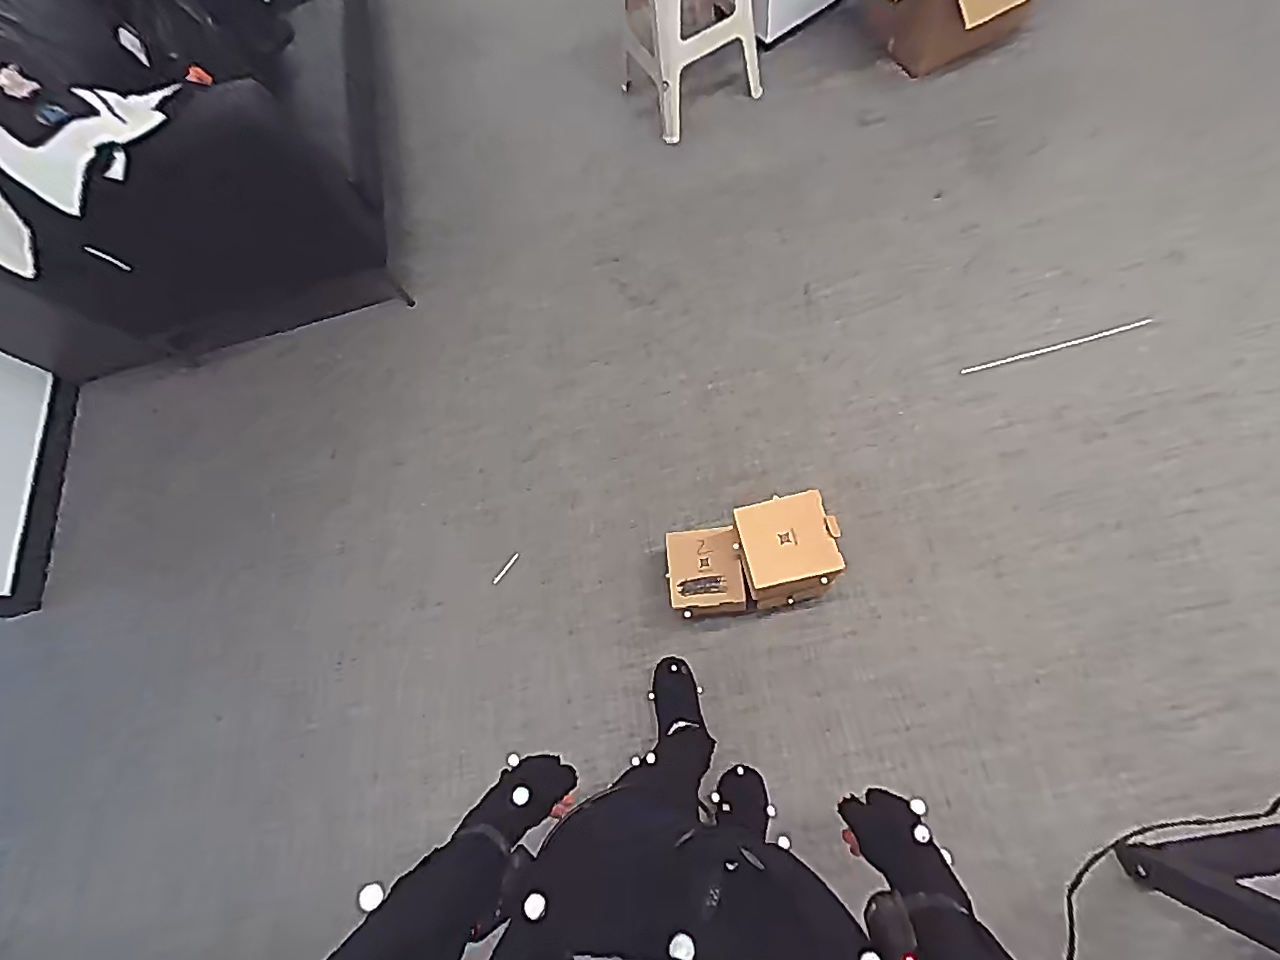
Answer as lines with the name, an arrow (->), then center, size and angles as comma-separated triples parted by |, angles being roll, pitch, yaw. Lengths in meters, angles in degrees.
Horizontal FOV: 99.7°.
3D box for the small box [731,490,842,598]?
small box -> 0.295, 0.140, 1.126 | 0.179, 0.176, 0.168 | -14, 69, 4
